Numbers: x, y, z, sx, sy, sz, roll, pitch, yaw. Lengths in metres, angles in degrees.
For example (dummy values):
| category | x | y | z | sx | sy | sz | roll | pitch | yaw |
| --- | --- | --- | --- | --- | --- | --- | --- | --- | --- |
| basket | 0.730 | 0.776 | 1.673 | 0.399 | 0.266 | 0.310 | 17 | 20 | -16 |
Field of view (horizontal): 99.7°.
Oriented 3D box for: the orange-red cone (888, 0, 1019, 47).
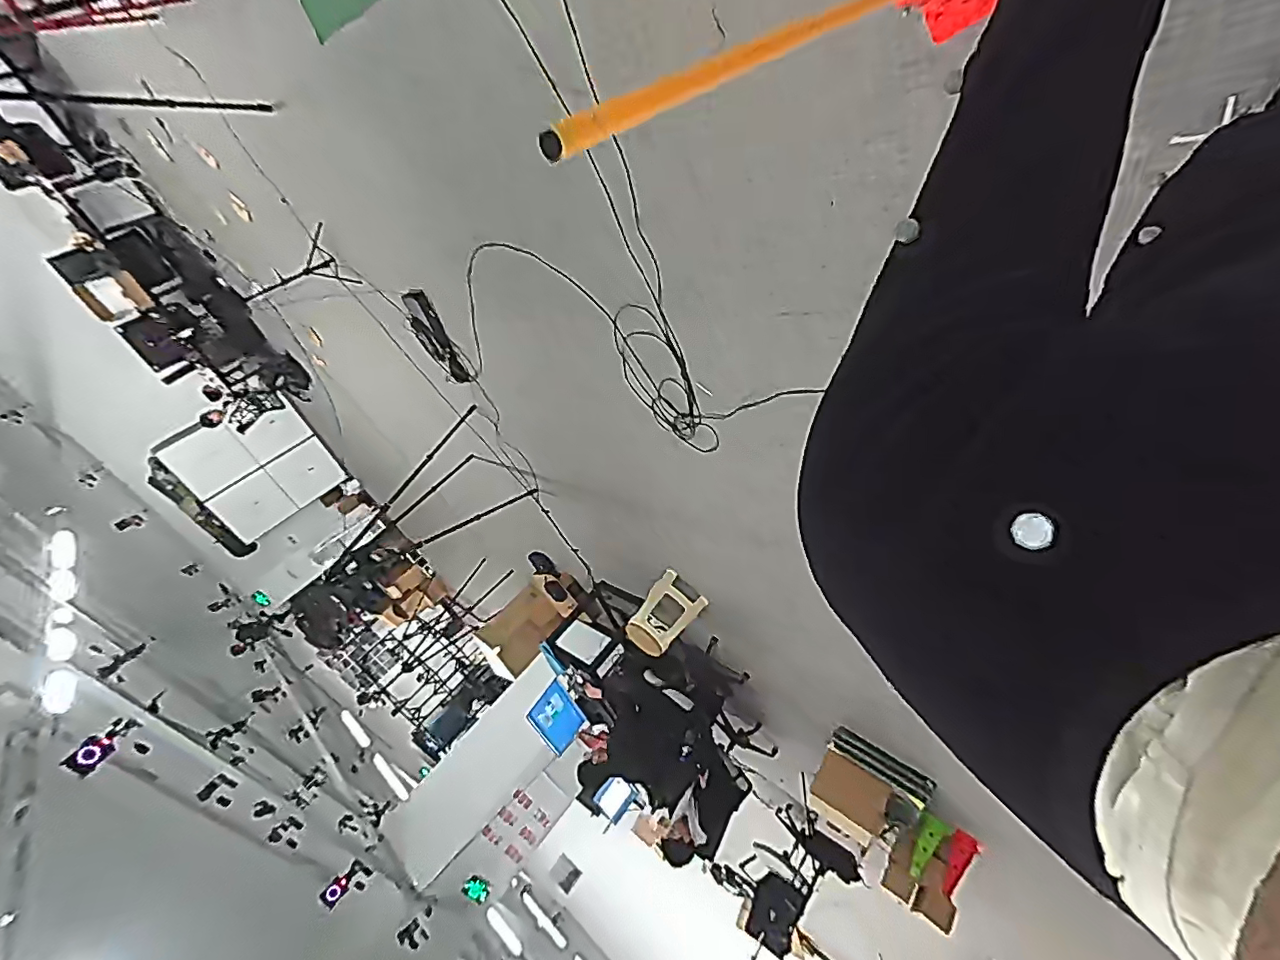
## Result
| category | x | y | z | sx | sy | sz | roll | pitch | yaw |
| --- | --- | --- | --- | --- | --- | --- | --- | --- | --- |
| orange-red cone | 0.534 | -0.897 | 0.973 | 0.199 | 0.360 | 0.198 | 0 | 127 | 53 |
